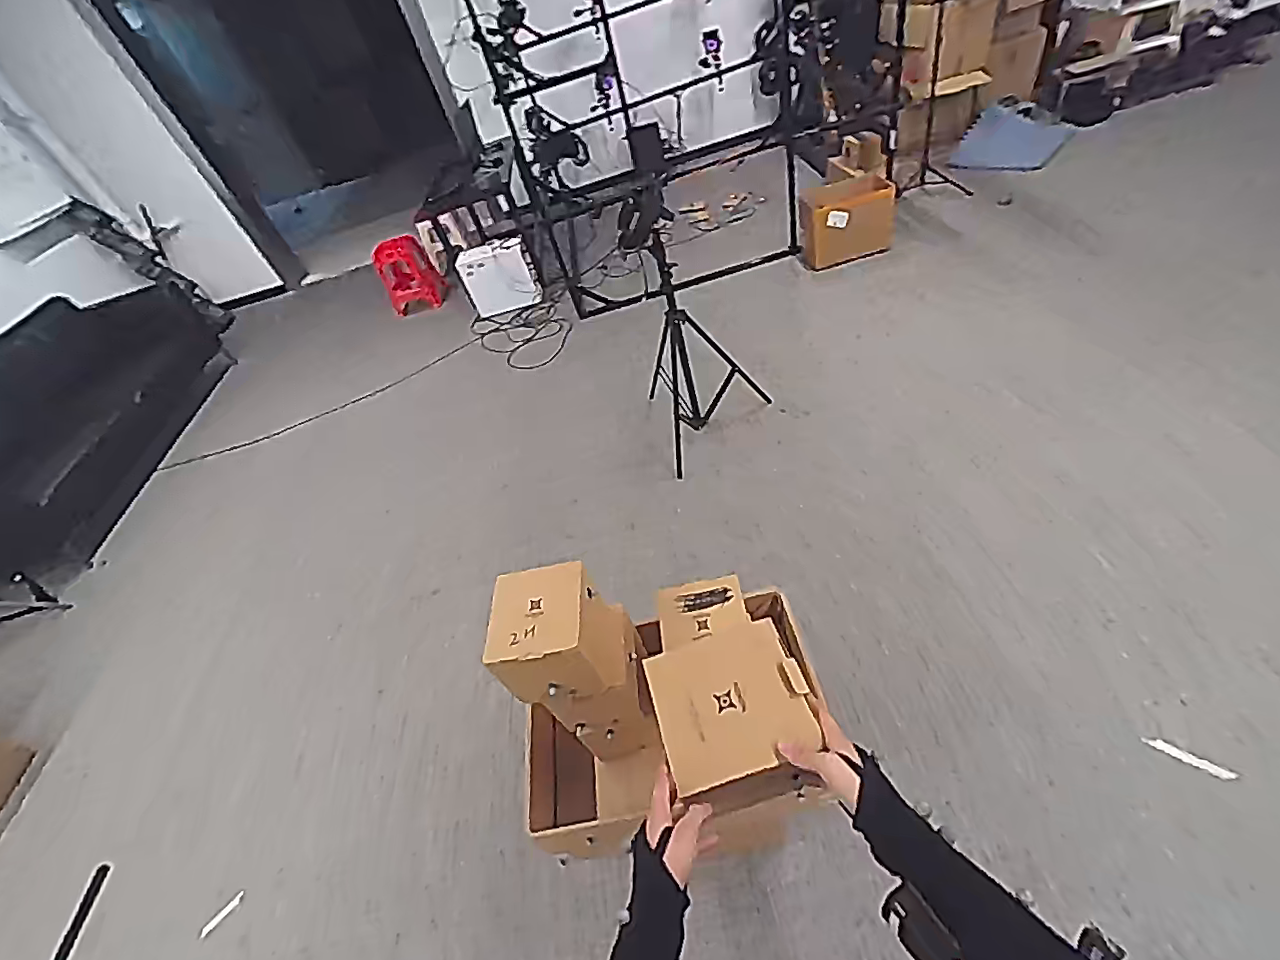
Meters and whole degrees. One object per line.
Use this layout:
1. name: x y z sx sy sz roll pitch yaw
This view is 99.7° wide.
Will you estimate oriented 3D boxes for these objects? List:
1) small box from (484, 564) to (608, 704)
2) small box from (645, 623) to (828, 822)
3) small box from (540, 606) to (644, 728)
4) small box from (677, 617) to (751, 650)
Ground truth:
1. small box: -0.159 0.280 0.979 0.168 0.176 0.179 -12 45 8
2. small box: 0.122 0.317 0.700 0.179 0.176 0.168 -19 47 0
3. small box: -0.091 0.384 1.092 0.168 0.176 0.179 -12 44 7
4. small box: 0.186 0.431 1.185 0.168 0.176 0.179 -15 45 7
